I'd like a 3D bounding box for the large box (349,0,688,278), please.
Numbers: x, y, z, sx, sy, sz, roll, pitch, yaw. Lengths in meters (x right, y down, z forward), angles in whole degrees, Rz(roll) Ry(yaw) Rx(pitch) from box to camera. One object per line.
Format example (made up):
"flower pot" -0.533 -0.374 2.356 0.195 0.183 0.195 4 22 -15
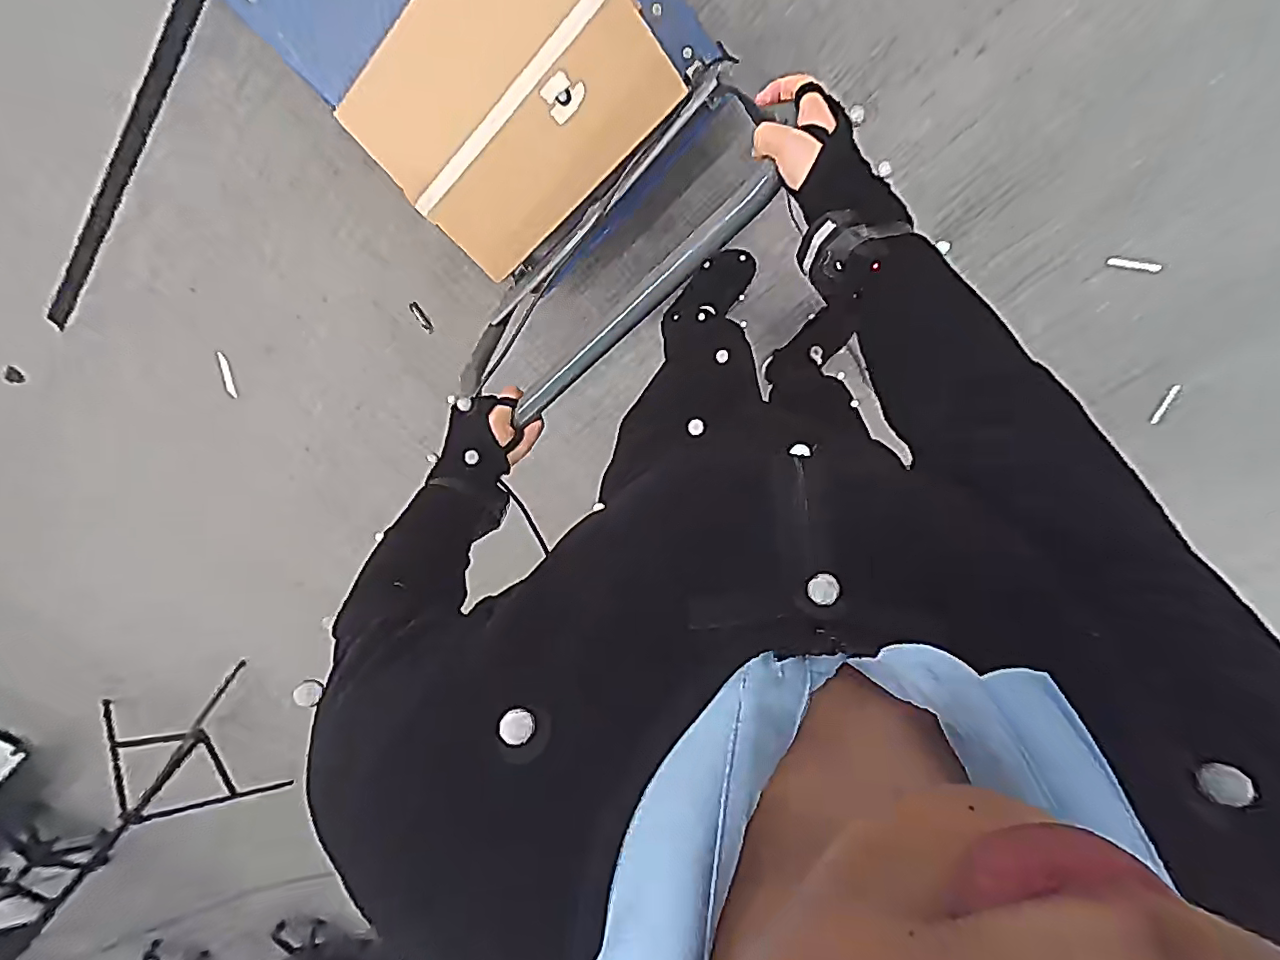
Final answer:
"large box" -0.174 -0.617 0.885 0.408 0.320 0.320 -35 118 23
